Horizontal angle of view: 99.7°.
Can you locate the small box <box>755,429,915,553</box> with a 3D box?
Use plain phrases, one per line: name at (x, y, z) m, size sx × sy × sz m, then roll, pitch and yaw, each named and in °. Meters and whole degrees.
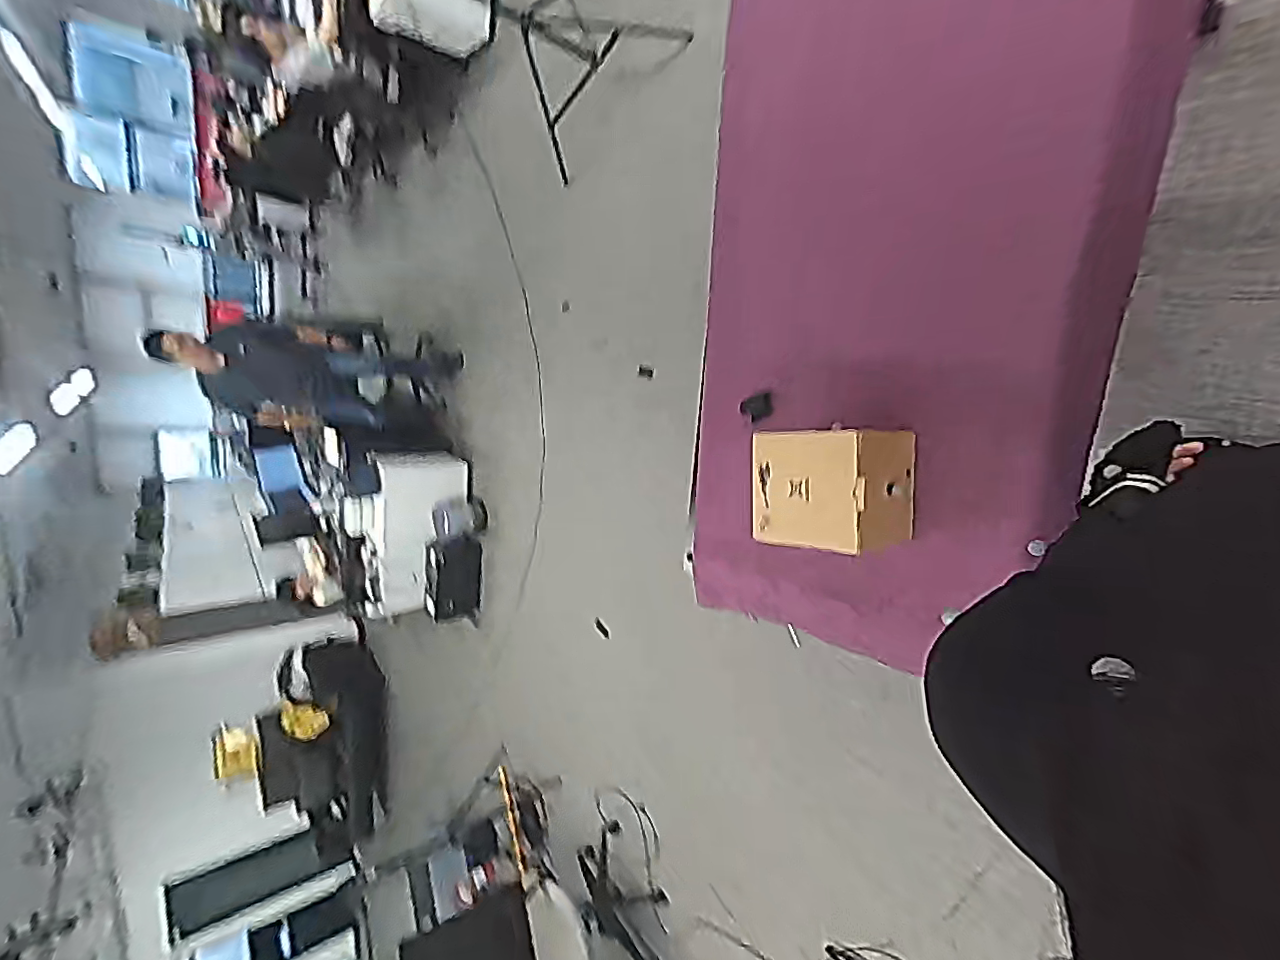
small box at (0.295, 0.007, 0.817) m, size 0.179 × 0.176 × 0.168 m, roll 3°, pitch 95°, yaw 50°
